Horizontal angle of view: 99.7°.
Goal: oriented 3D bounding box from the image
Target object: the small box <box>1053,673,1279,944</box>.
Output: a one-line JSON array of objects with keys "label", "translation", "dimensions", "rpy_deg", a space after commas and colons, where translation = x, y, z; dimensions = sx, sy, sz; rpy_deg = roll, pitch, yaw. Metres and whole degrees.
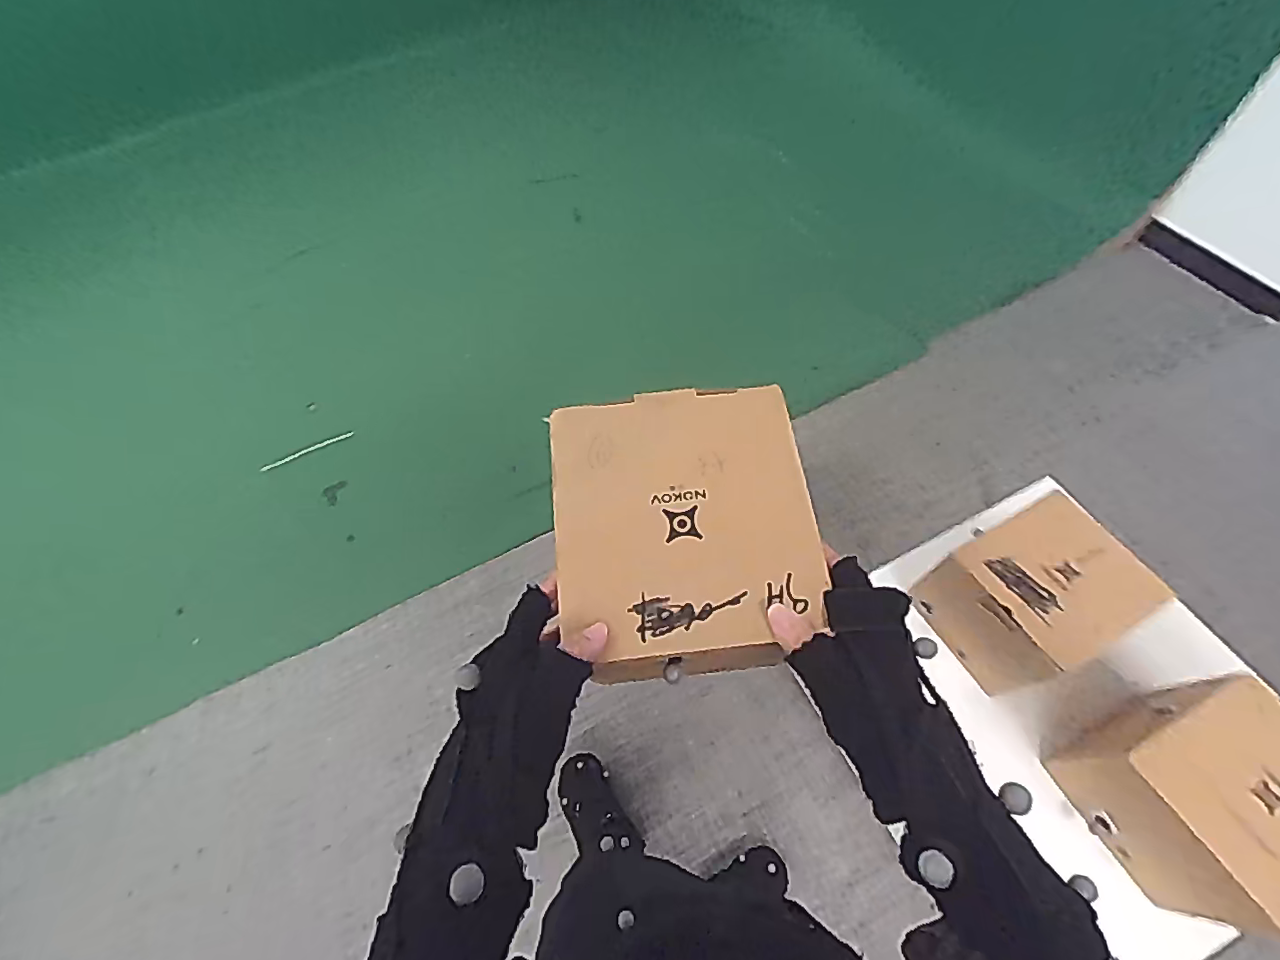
[{"label": "small box", "translation": [0.597, 0.329, 0.566], "dimensions": [0.179, 0.176, 0.168], "rpy_deg": [-28, 61, -7]}]

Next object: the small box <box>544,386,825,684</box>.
[{"label": "small box", "translation": [0.023, 0.052, 0.425], "dimensions": [0.168, 0.176, 0.179], "rpy_deg": [-8, 64, 0]}]

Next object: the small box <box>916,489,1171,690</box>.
[{"label": "small box", "translation": [0.490, 0.148, 0.696], "dimensions": [0.179, 0.176, 0.168], "rpy_deg": [-27, 62, -10]}]
